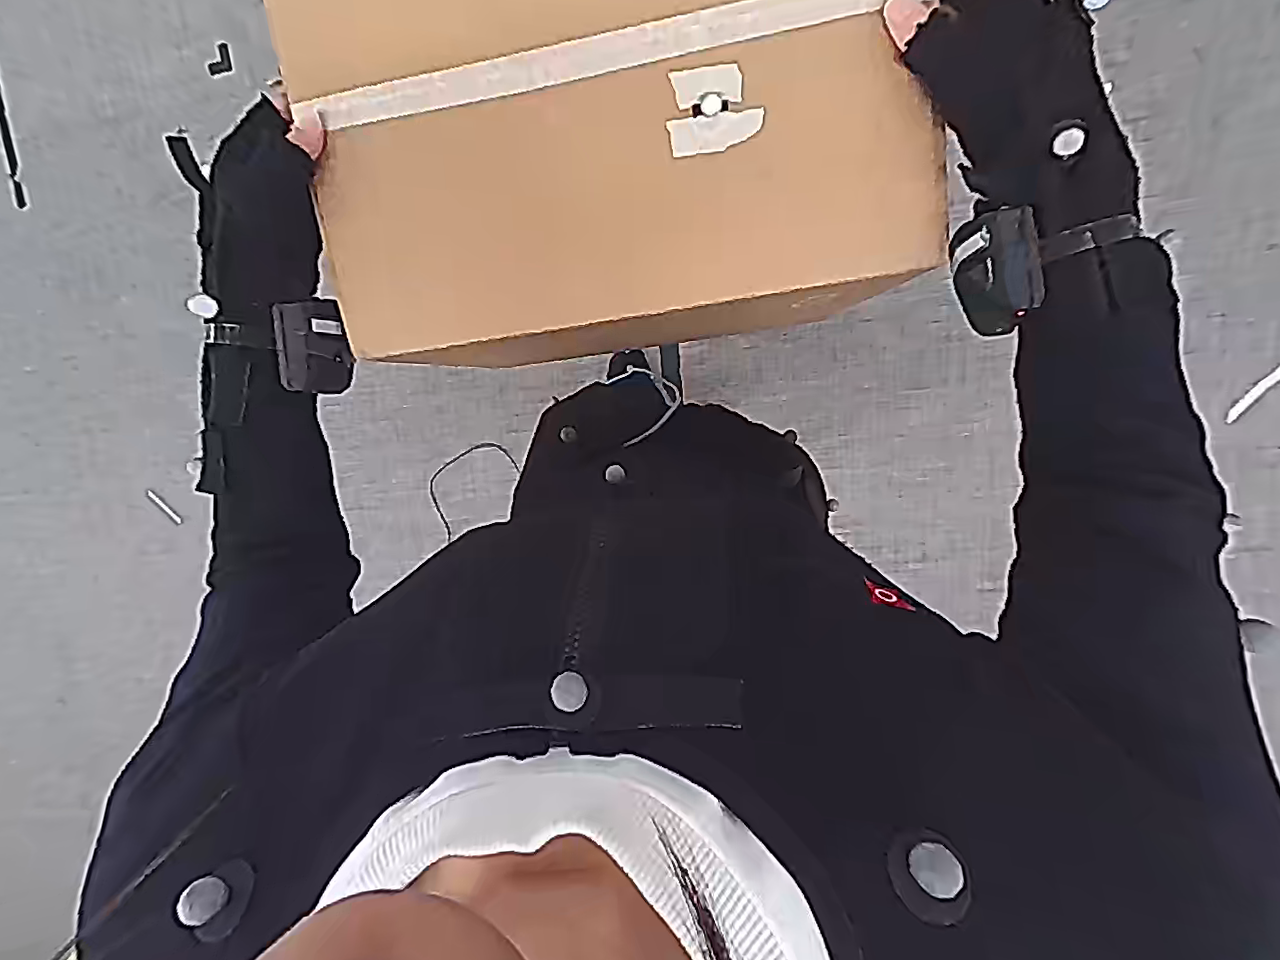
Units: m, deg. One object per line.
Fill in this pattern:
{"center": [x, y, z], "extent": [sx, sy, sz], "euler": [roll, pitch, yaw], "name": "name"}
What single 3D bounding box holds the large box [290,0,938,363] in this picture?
{"center": [-0.014, -0.298, 0.493], "extent": [0.408, 0.320, 0.320], "euler": [-8, 100, 5], "name": "large box"}
